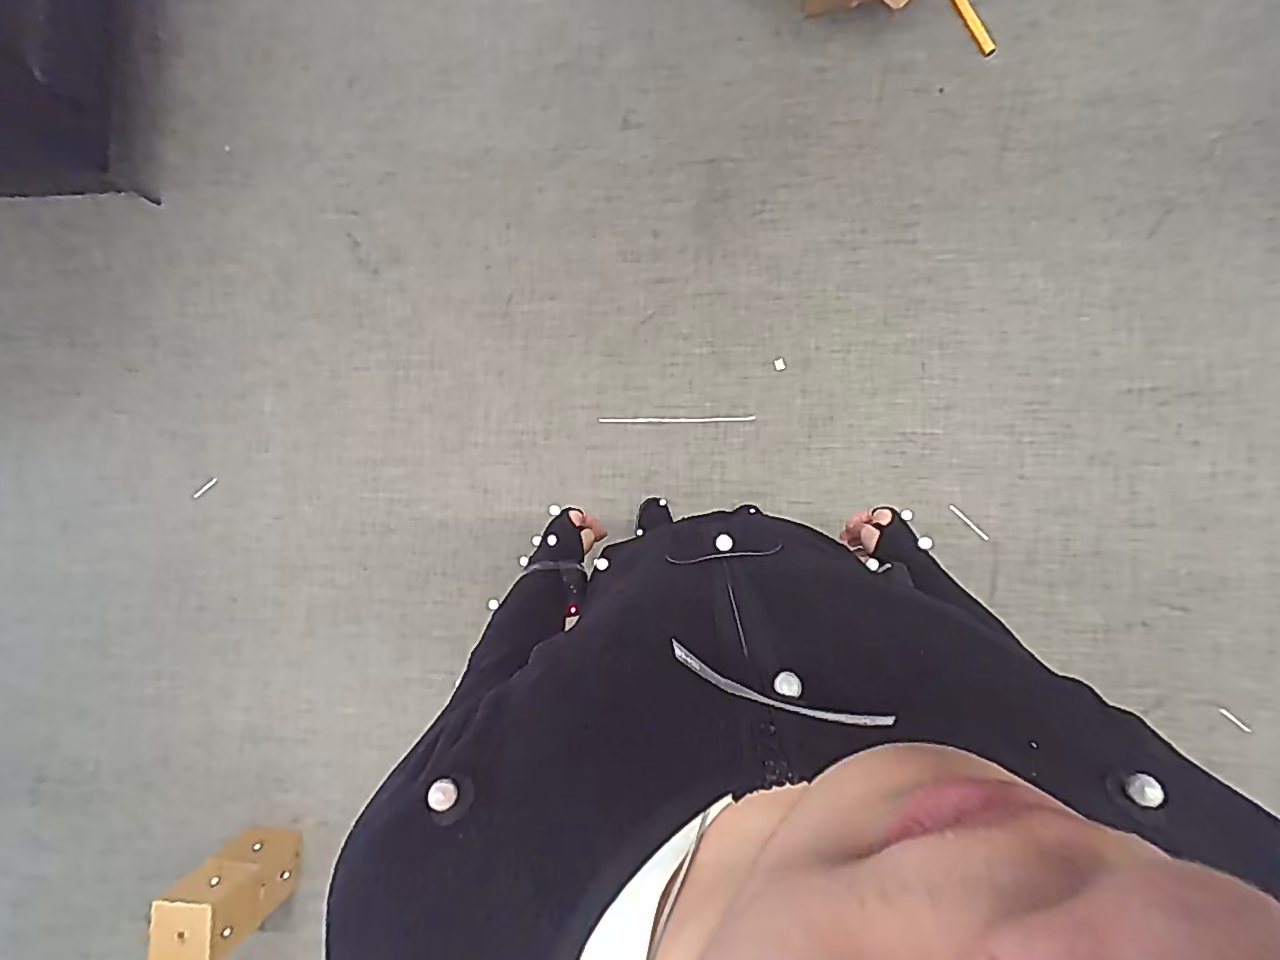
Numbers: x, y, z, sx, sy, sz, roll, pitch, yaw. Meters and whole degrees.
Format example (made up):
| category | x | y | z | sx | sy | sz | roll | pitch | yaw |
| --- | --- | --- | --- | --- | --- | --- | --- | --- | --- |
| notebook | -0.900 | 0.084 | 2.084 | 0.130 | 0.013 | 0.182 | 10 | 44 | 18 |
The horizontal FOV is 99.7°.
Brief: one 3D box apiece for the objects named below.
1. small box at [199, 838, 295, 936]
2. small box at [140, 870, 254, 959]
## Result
| category | x | y | z | sx | sy | sz | roll | pitch | yaw |
| --- | --- | --- | --- | --- | --- | --- | --- | --- | --- |
| small box | -1.153 | 1.187 | 1.588 | 0.179 | 0.176 | 0.168 | 2 | 85 | 4 |
| small box | -1.159 | 1.171 | 1.426 | 0.168 | 0.176 | 0.179 | 0 | 87 | 5 |
